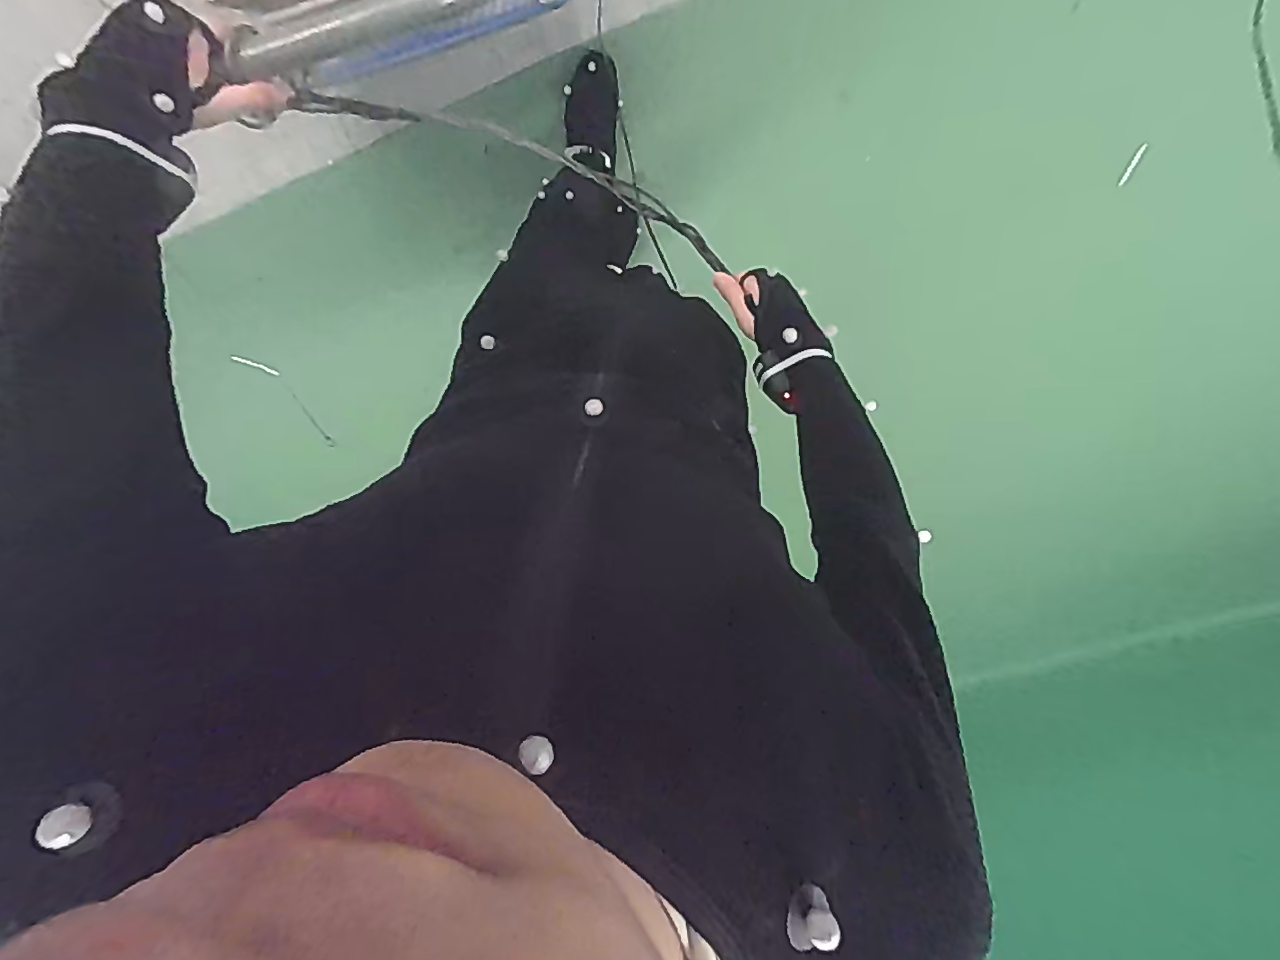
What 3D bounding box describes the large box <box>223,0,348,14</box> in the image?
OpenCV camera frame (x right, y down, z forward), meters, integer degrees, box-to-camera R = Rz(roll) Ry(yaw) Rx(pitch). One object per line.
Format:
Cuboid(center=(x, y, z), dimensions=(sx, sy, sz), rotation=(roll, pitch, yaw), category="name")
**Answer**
Cuboid(center=(-0.483, -0.916, 0.707), dimensions=(0.320, 0.320, 0.408), rotation=(-12, 128, 4), category="large box")
